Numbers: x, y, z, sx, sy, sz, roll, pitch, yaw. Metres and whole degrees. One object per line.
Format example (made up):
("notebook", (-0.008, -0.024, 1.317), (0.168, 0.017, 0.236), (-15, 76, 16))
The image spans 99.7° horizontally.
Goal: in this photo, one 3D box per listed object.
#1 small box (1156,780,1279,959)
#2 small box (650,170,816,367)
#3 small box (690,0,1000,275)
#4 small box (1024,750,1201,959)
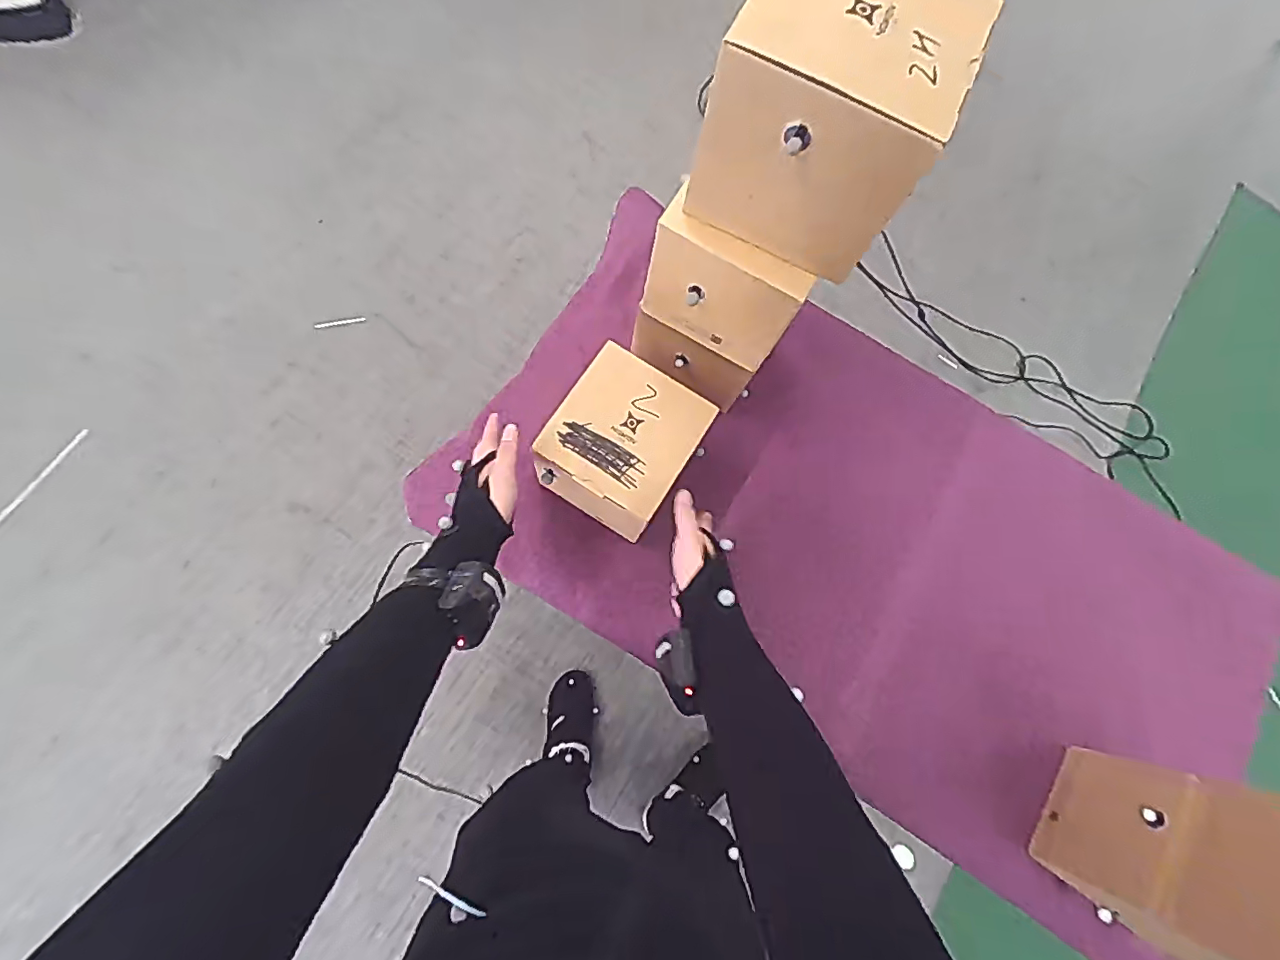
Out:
("small box", (0.661, 0.426, 0.515), (0.168, 0.176, 0.179), (35, 75, 6))
("small box", (0.122, -0.264, 0.632), (0.168, 0.176, 0.179), (30, 75, 2))
("small box", (0.162, -0.318, 0.479), (0.179, 0.176, 0.168), (27, 75, 1))
("small box", (0.640, 0.469, 0.672), (0.179, 0.176, 0.168), (36, 74, 4))
